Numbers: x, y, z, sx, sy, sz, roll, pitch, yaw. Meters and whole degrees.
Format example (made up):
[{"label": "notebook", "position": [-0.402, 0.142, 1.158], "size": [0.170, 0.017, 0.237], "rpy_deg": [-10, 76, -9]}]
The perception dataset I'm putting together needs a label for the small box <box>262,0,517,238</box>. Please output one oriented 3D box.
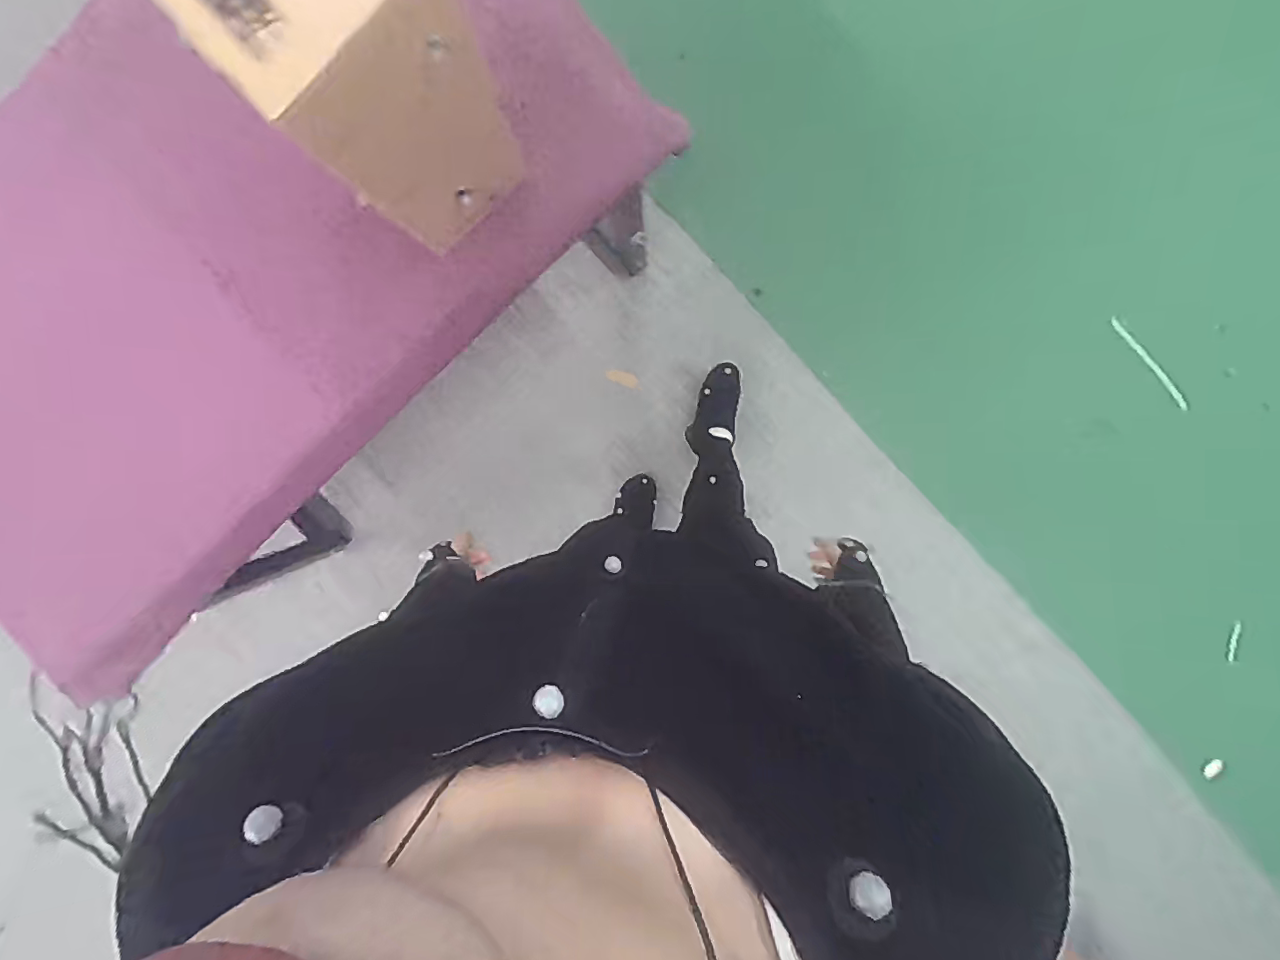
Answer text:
[{"label": "small box", "position": [-0.272, -0.414, 0.634], "size": [0.168, 0.176, 0.179], "rpy_deg": [-41, 93, 5]}]
